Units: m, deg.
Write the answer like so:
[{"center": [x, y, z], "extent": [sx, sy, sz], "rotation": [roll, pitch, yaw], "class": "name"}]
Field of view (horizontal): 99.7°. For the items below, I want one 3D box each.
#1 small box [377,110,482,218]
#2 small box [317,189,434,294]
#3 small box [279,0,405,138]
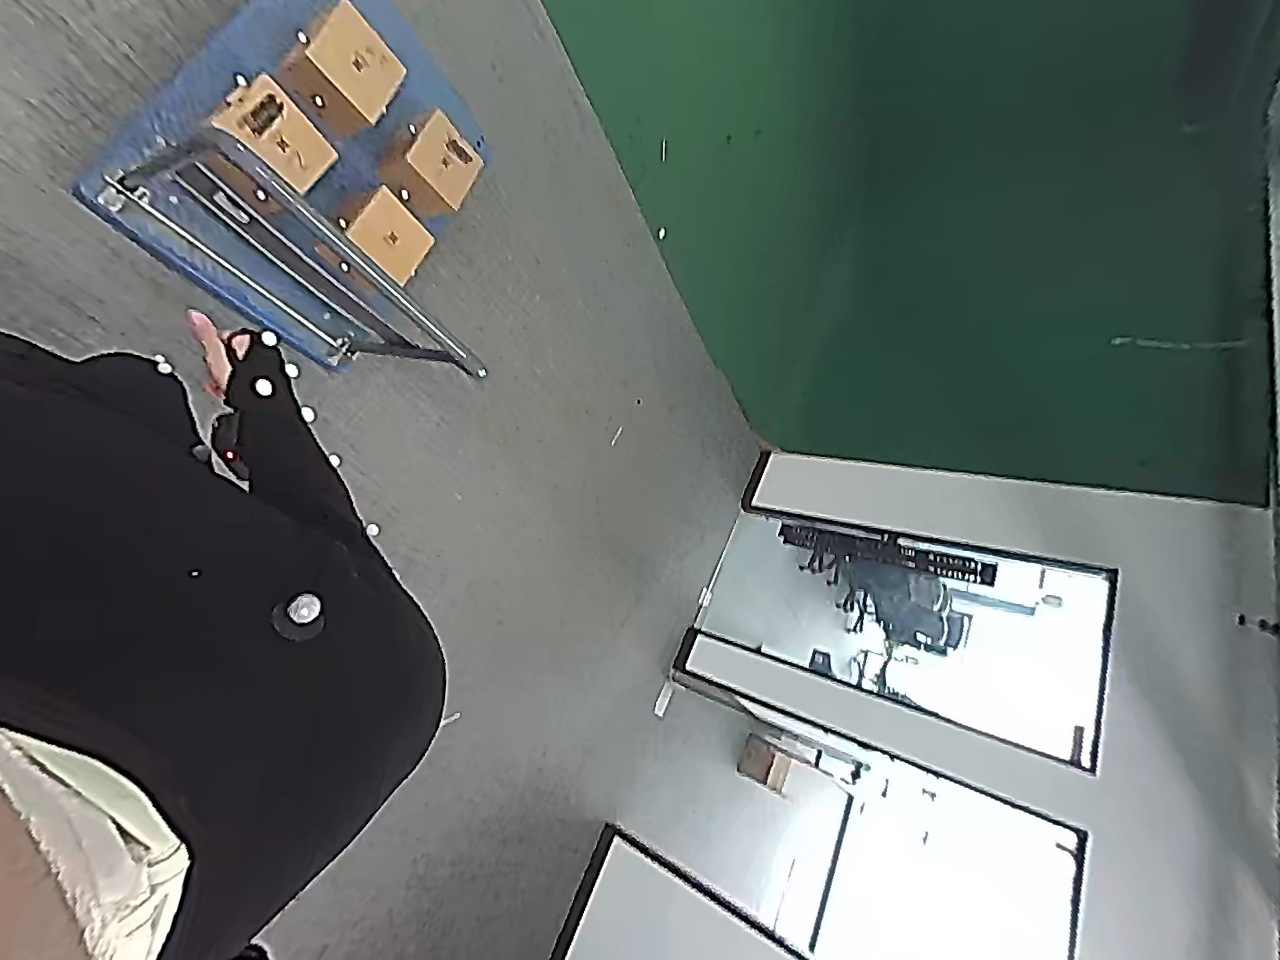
[{"center": [-0.562, -0.830, 1.437], "extent": [0.168, 0.176, 0.179], "rotation": [39, 69, -49], "class": "small box"}, {"center": [-0.667, -0.593, 1.360], "extent": [0.168, 0.176, 0.179], "rotation": [46, 63, -49], "class": "small box"}, {"center": [-0.689, -0.930, 1.242], "extent": [0.168, 0.176, 0.179], "rotation": [40, 67, -51], "class": "small box"}]
